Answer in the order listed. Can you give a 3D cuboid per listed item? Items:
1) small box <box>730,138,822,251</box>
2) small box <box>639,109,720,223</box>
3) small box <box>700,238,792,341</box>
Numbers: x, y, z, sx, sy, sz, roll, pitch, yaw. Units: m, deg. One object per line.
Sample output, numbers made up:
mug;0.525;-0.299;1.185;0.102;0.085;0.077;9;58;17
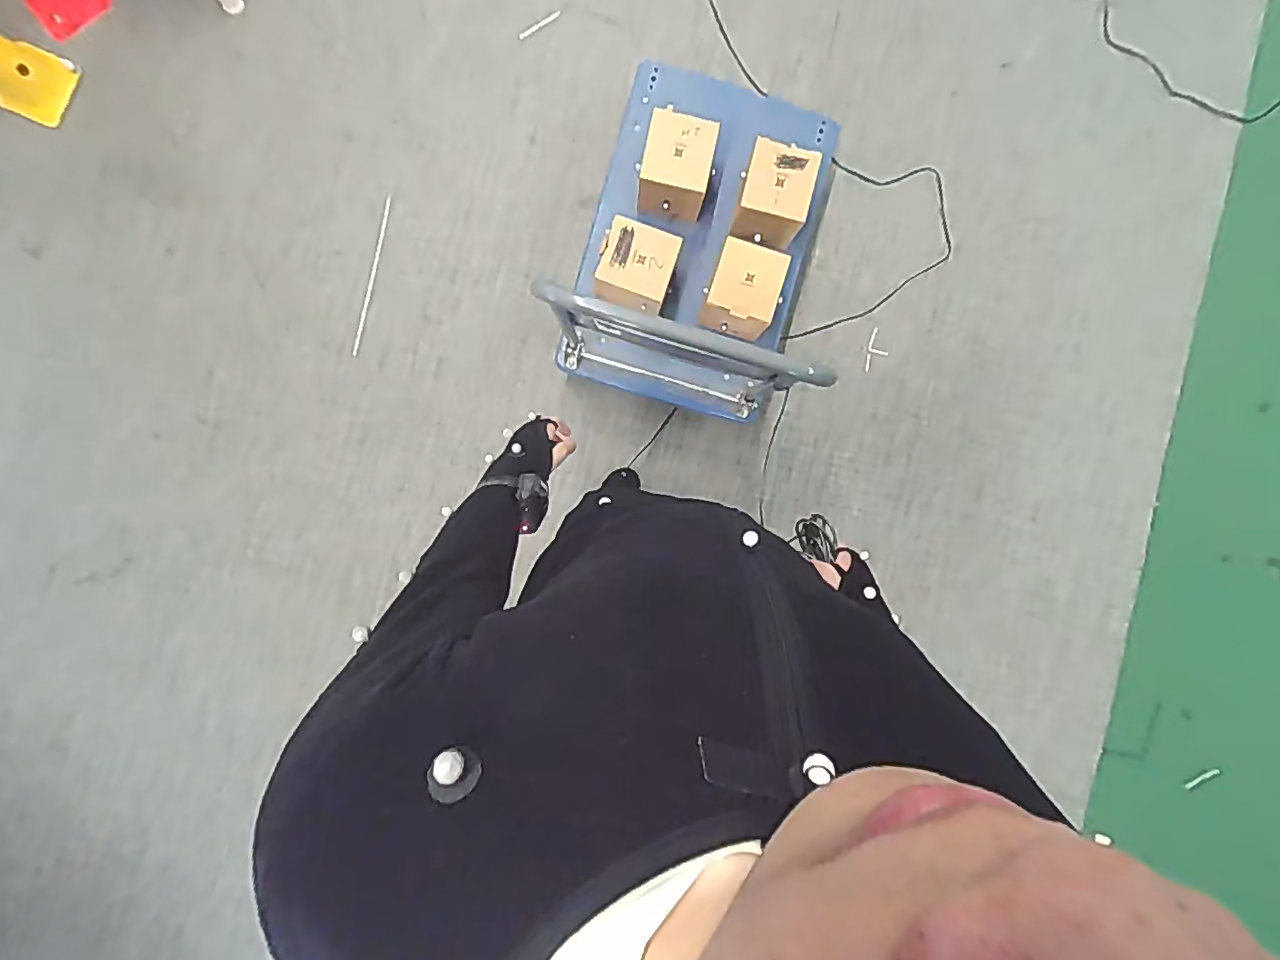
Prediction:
small box;0.340;-0.722;1.384;0.168;0.176;0.179;15;91;-2
small box;0.093;-0.787;1.374;0.168;0.176;0.179;13;90;-3
small box;0.262;-0.480;1.384;0.168;0.176;0.179;18;91;-2
